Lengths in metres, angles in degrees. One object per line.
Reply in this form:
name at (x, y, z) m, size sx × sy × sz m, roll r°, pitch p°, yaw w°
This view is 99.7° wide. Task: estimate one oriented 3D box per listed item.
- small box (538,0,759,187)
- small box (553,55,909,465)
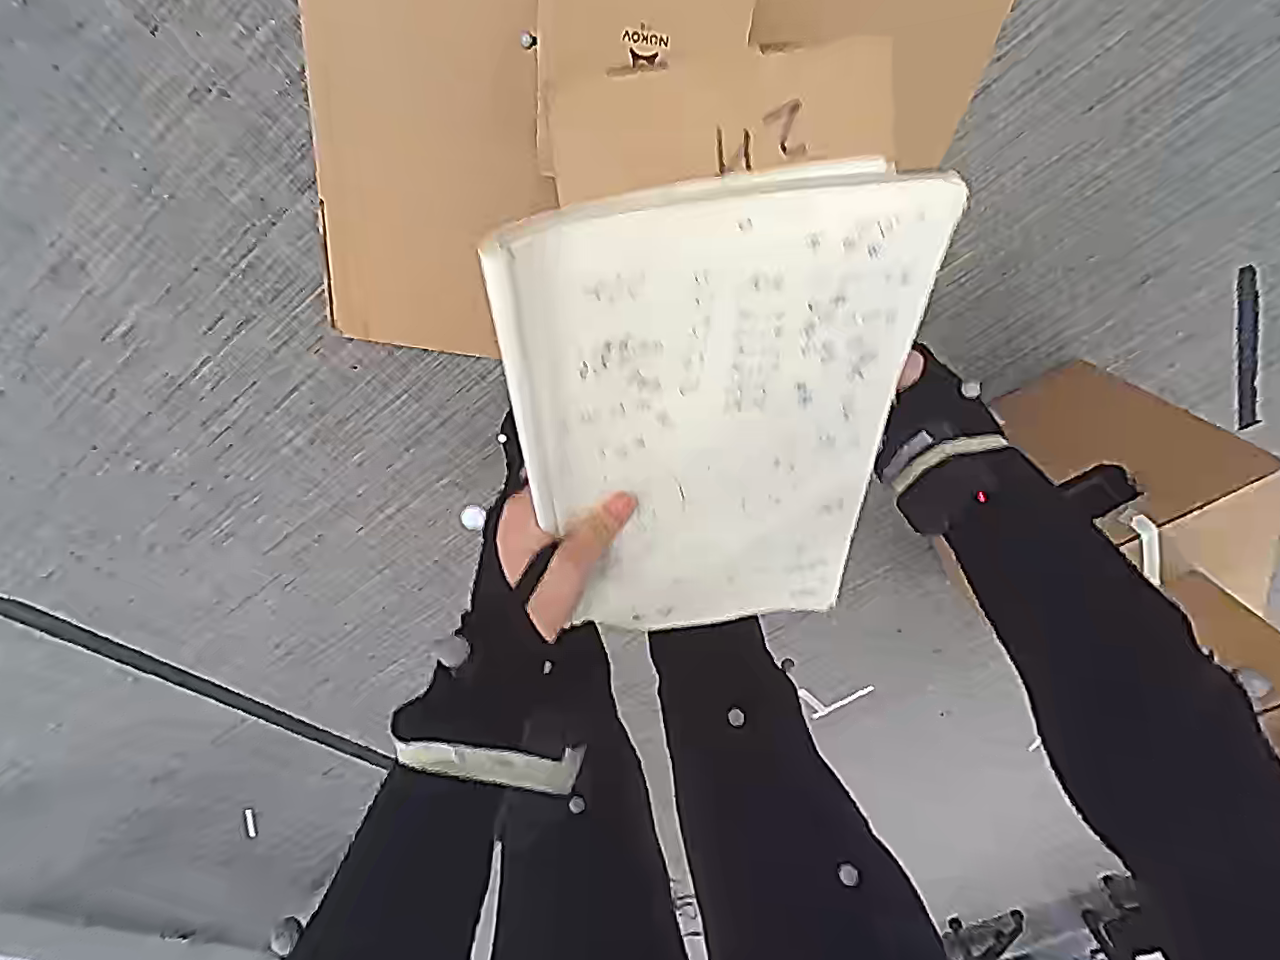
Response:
small box at (-0.007, -0.368, 0.490) m, size 0.168 × 0.176 × 0.179 m, roll 0°, pitch 126°, yaw -10°
small box at (0.050, -0.120, 0.345) m, size 0.168 × 0.176 × 0.179 m, roll -8°, pitch 104°, yaw 1°
